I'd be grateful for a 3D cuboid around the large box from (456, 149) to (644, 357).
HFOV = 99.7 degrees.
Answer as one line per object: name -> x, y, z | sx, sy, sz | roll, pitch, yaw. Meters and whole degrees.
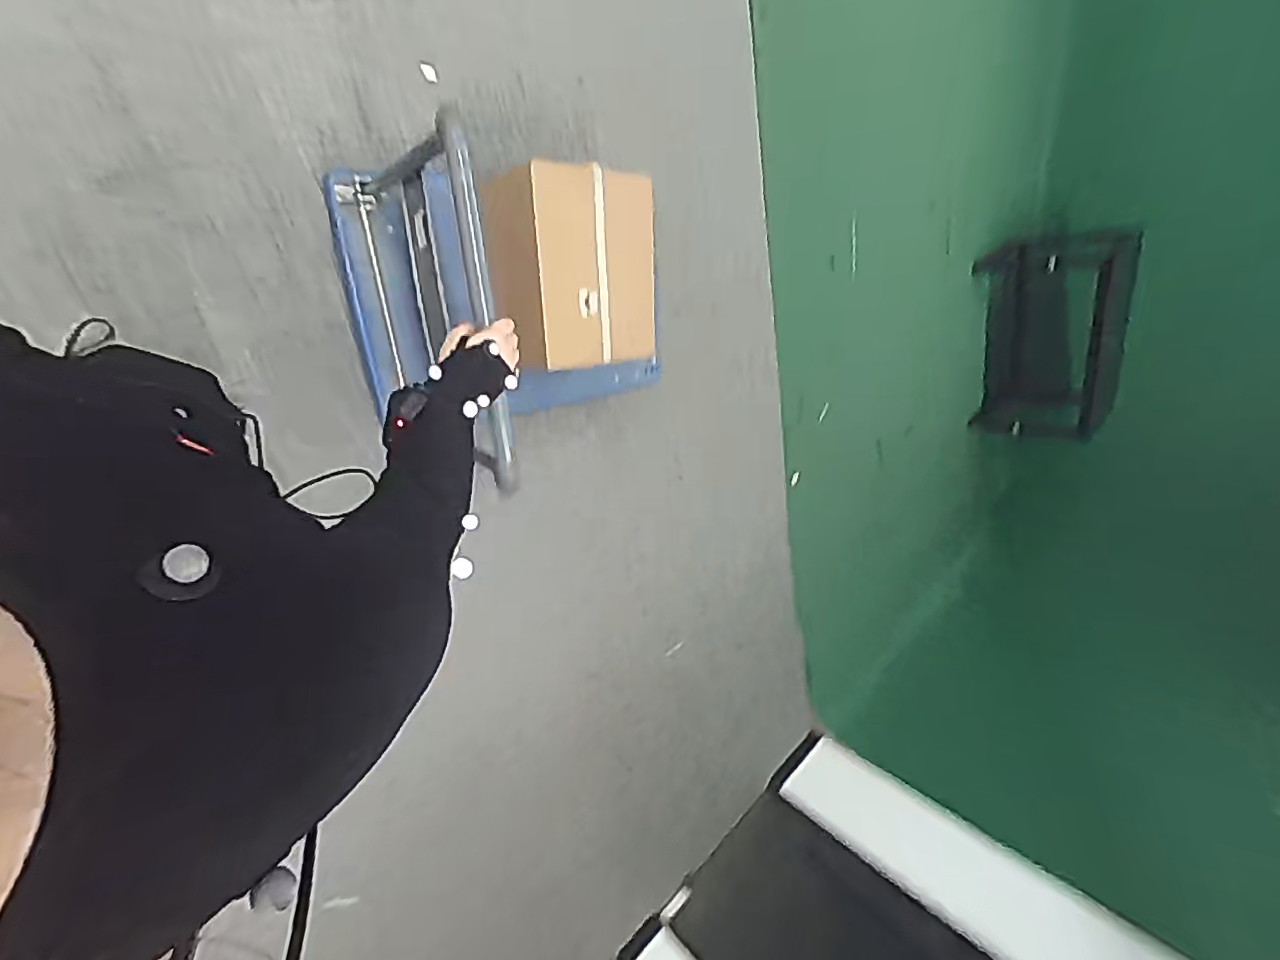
large box -> -0.211, -0.527, 1.302 | 0.320, 0.320, 0.408 | -17, 115, -37
